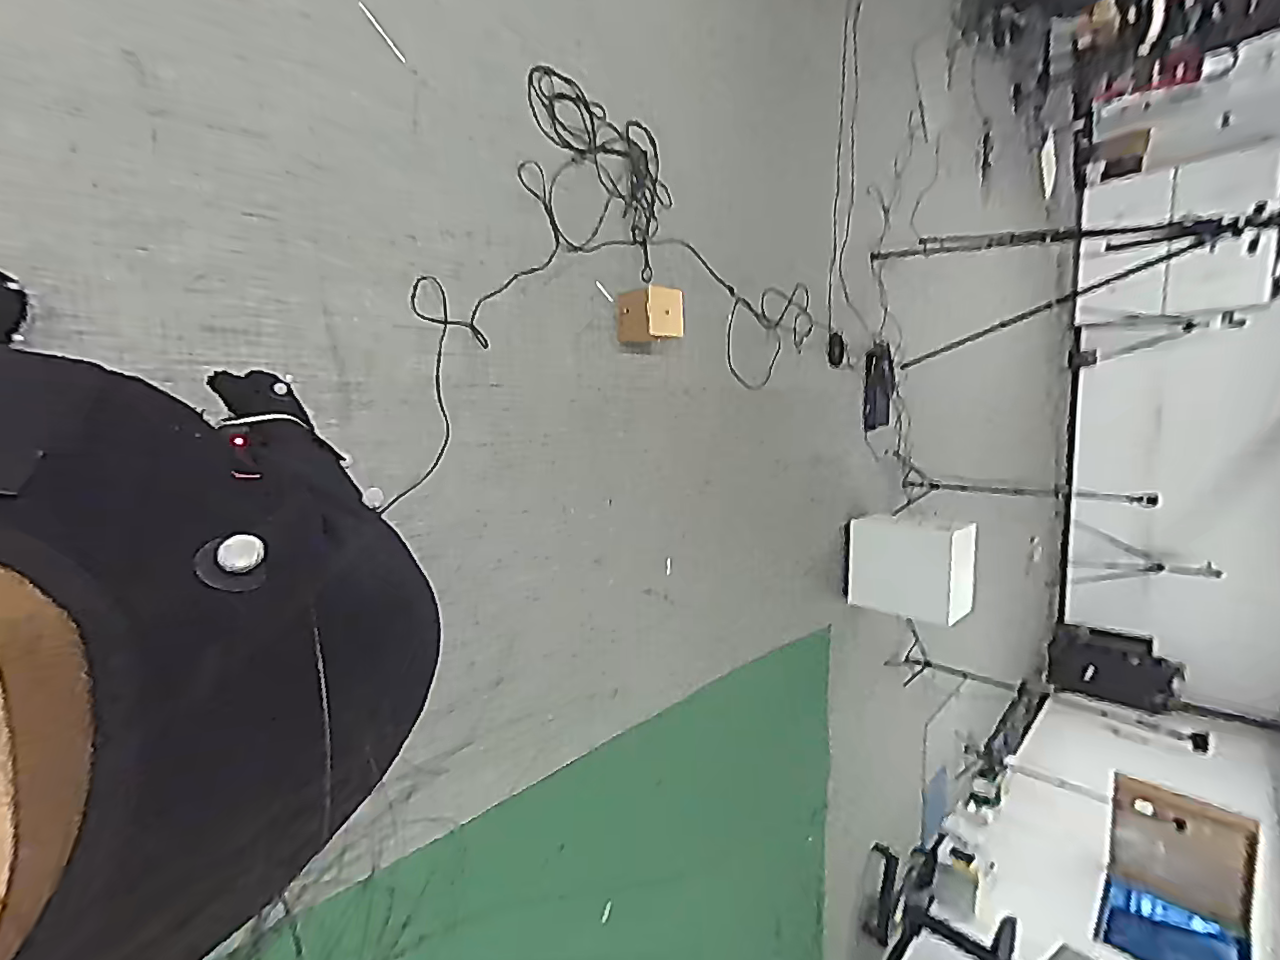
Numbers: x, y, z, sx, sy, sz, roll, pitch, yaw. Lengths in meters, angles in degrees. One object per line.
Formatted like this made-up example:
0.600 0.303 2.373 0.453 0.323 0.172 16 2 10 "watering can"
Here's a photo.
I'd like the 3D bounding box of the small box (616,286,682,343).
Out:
0.032 -0.593 1.954 0.179 0.176 0.168 -10 100 -42 "small box"
